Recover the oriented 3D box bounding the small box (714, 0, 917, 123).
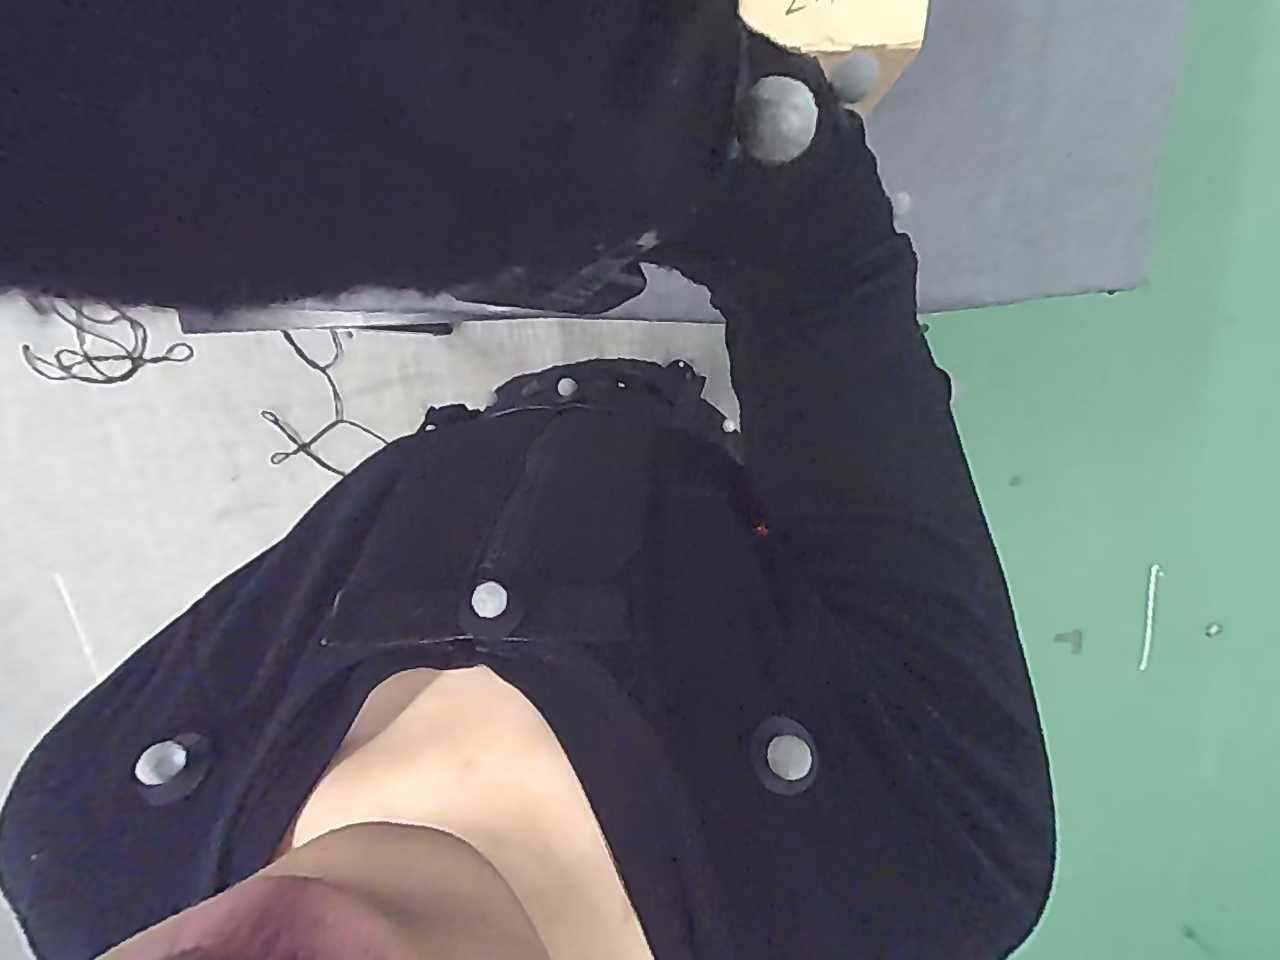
[{"bbox_3d":[0.165,-0.485,0.531,0.168,0.176,0.179,5,106,3],"label":"small box"}]
